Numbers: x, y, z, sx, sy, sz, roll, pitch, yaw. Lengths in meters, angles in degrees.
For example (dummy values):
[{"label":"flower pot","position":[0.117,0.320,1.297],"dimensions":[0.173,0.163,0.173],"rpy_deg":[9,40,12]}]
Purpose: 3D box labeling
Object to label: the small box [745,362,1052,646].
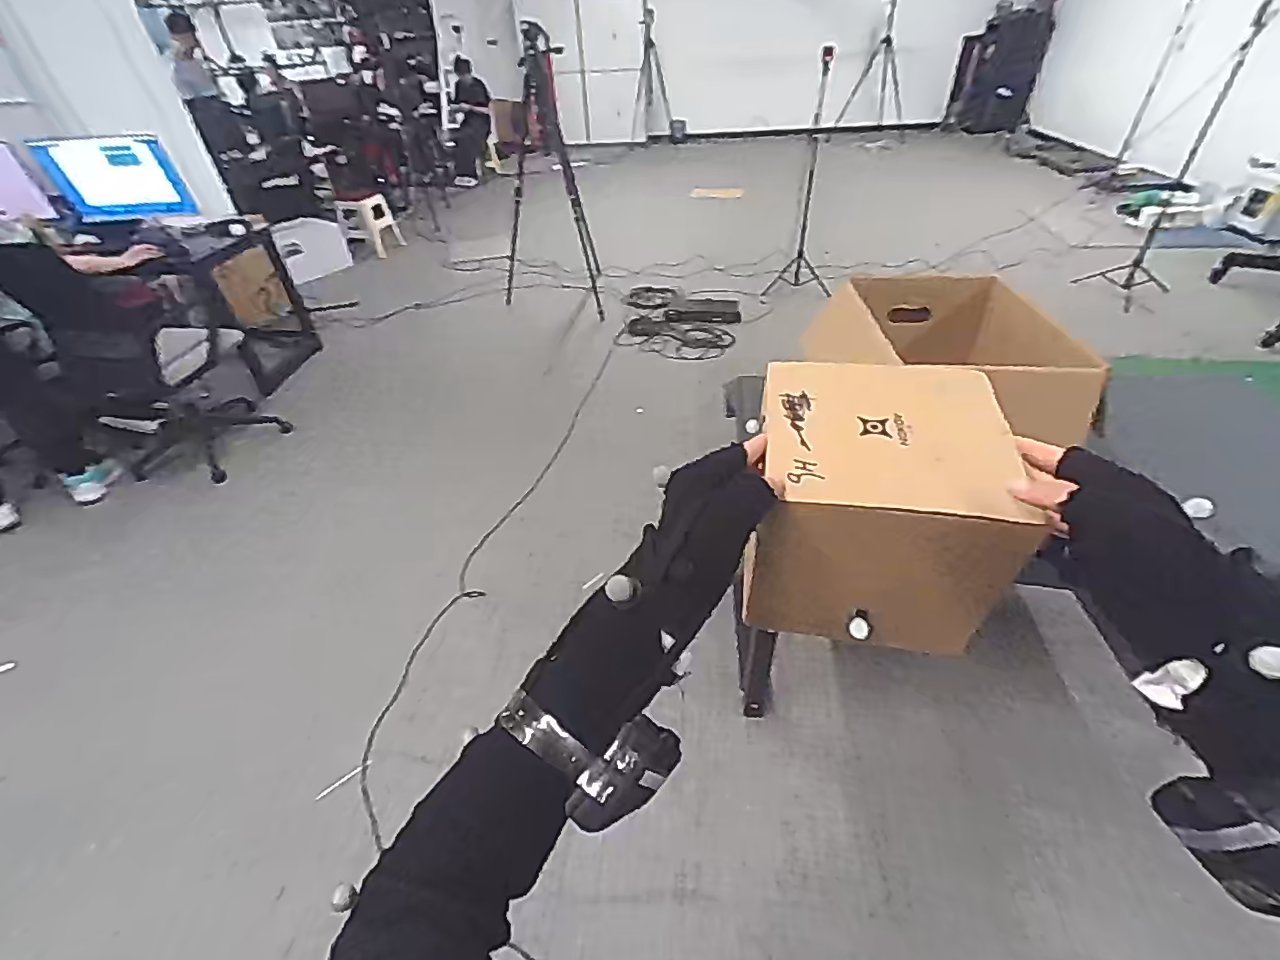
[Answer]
[{"label":"small box","position":[0.191,0.022,0.461],"dimensions":[0.179,0.176,0.168],"rpy_deg":[6,45,9]}]
